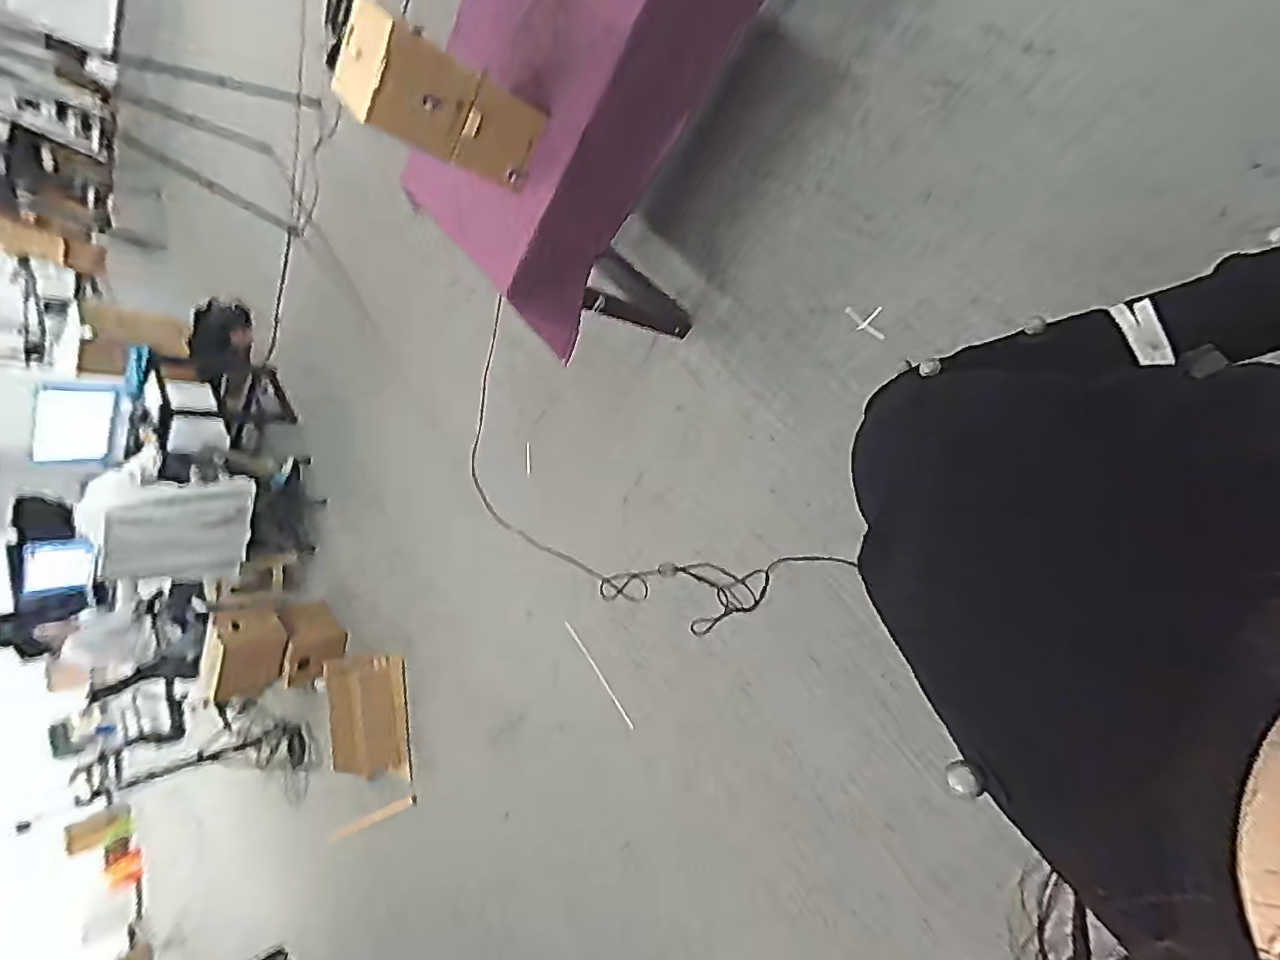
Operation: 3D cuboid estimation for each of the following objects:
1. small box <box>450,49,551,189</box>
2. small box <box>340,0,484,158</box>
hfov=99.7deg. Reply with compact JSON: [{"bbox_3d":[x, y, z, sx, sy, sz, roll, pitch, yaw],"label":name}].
[{"bbox_3d":[-0.318,-0.747,1.138,0.179,0.176,0.168,49,119,27],"label":"small box"},{"bbox_3d":[-0.423,-0.741,1.010,0.179,0.176,0.168,50,119,25],"label":"small box"}]
